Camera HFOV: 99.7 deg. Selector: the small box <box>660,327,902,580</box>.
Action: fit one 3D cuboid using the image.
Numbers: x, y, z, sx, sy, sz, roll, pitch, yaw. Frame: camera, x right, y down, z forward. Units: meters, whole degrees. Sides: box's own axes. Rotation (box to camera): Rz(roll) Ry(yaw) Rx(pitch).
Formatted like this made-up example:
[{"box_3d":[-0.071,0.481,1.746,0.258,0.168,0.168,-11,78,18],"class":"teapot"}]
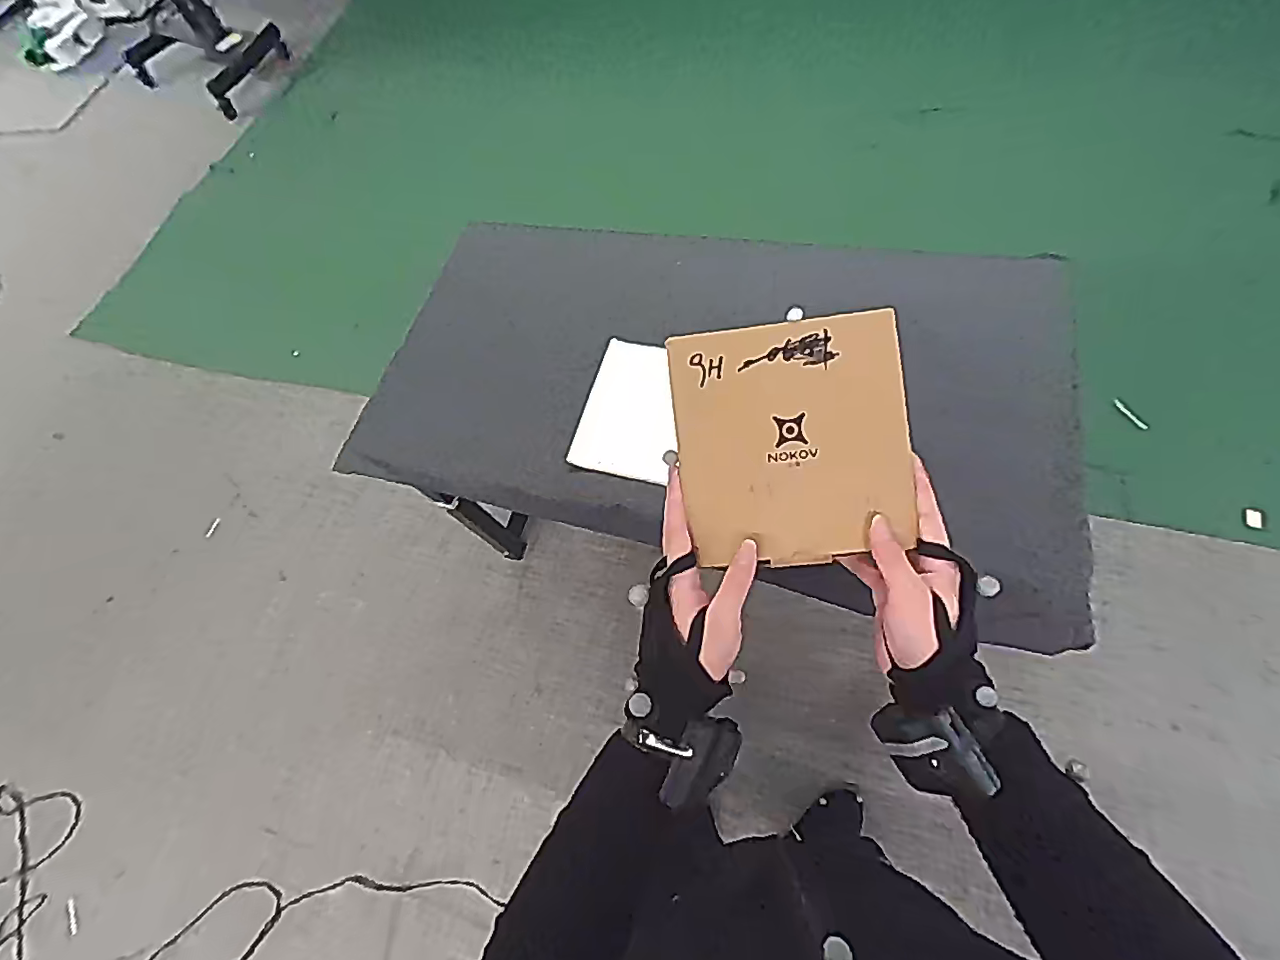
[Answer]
[{"box_3d":[0.111,-0.022,0.479,0.168,0.176,0.179,-6,93,5],"class":"small box"}]
